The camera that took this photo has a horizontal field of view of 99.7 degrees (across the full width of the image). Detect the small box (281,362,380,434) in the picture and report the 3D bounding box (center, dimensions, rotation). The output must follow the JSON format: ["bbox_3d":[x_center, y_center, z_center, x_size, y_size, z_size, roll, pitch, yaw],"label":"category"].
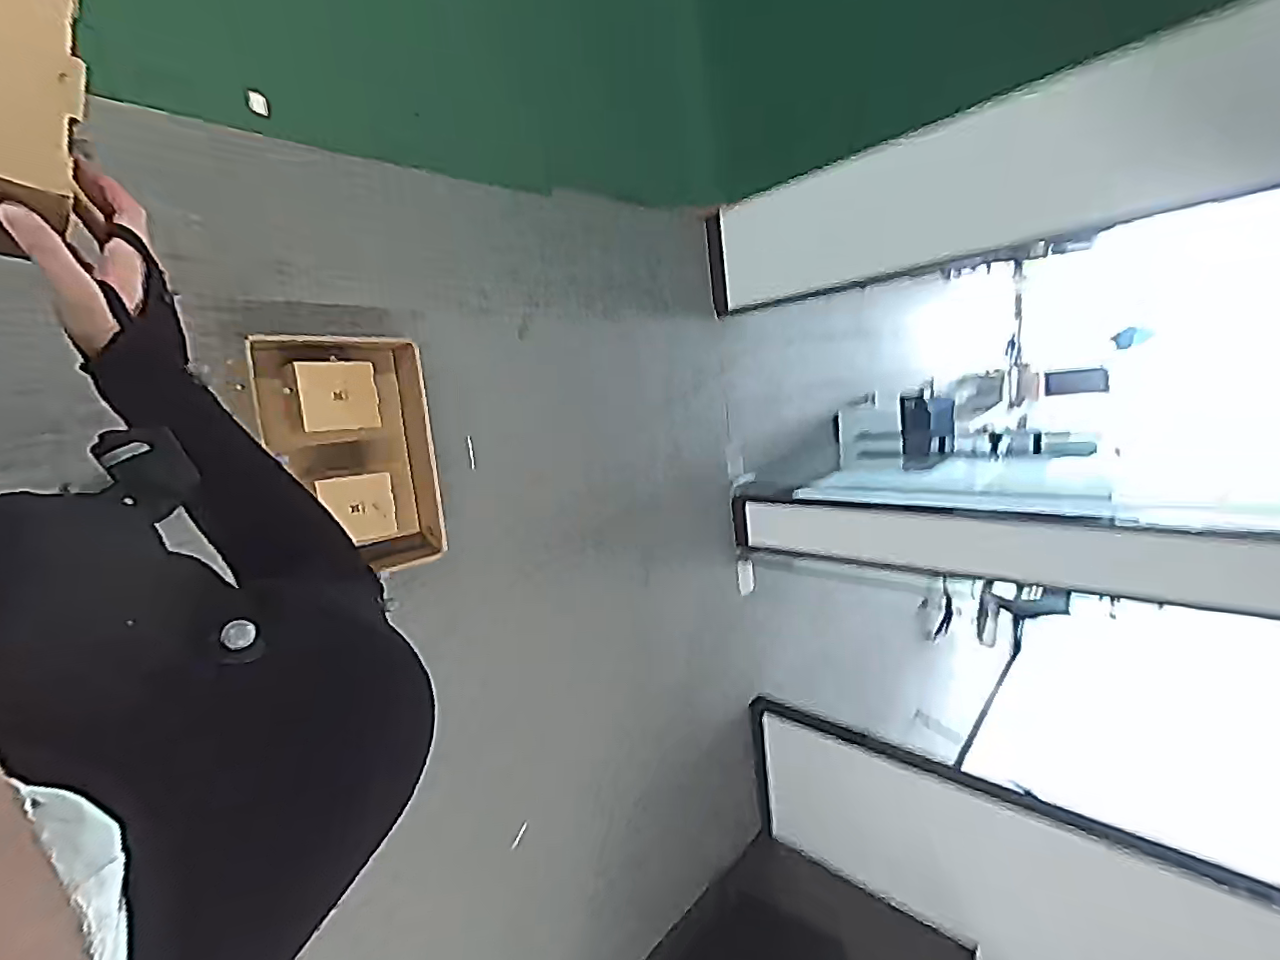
[{"bbox_3d":[-0.789,-0.206,1.371,0.179,0.176,0.168,-13,102,-45],"label":"small box"}]

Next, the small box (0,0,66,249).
[{"bbox_3d":[-0.519,-0.277,0.360,0.179,0.176,0.168,1,86,-49],"label":"small box"}]

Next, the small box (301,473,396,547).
[{"bbox_3d":[-0.763,0.072,1.409,0.179,0.176,0.168,-11,99,-45],"label":"small box"}]
